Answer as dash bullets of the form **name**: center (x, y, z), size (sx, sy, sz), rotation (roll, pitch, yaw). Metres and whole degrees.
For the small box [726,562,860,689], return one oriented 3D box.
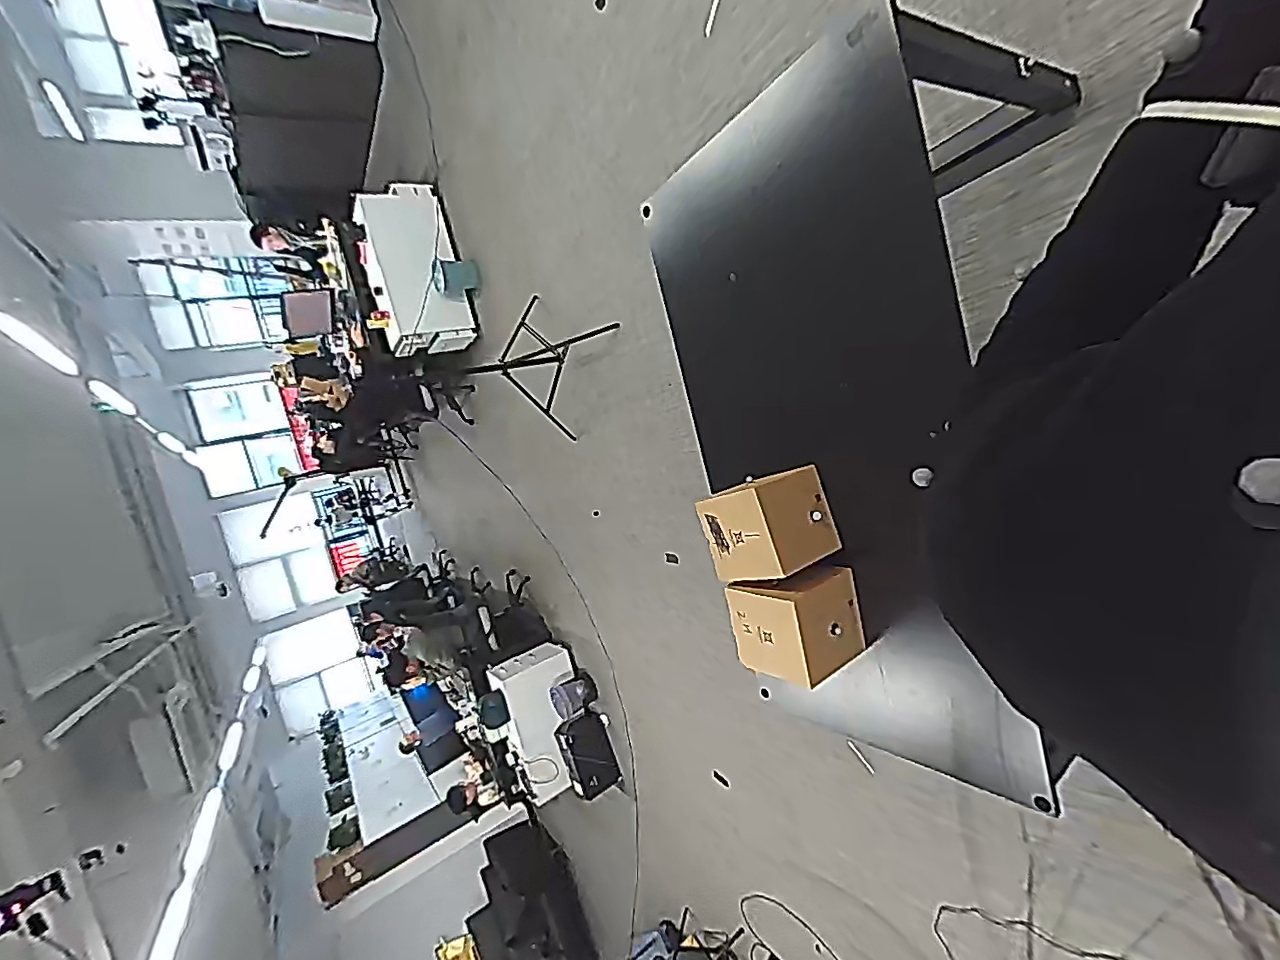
- **small box**: center (0.296, 0.264, 1.028), size (0.179, 0.176, 0.168), rotation (-2, 101, 58)
